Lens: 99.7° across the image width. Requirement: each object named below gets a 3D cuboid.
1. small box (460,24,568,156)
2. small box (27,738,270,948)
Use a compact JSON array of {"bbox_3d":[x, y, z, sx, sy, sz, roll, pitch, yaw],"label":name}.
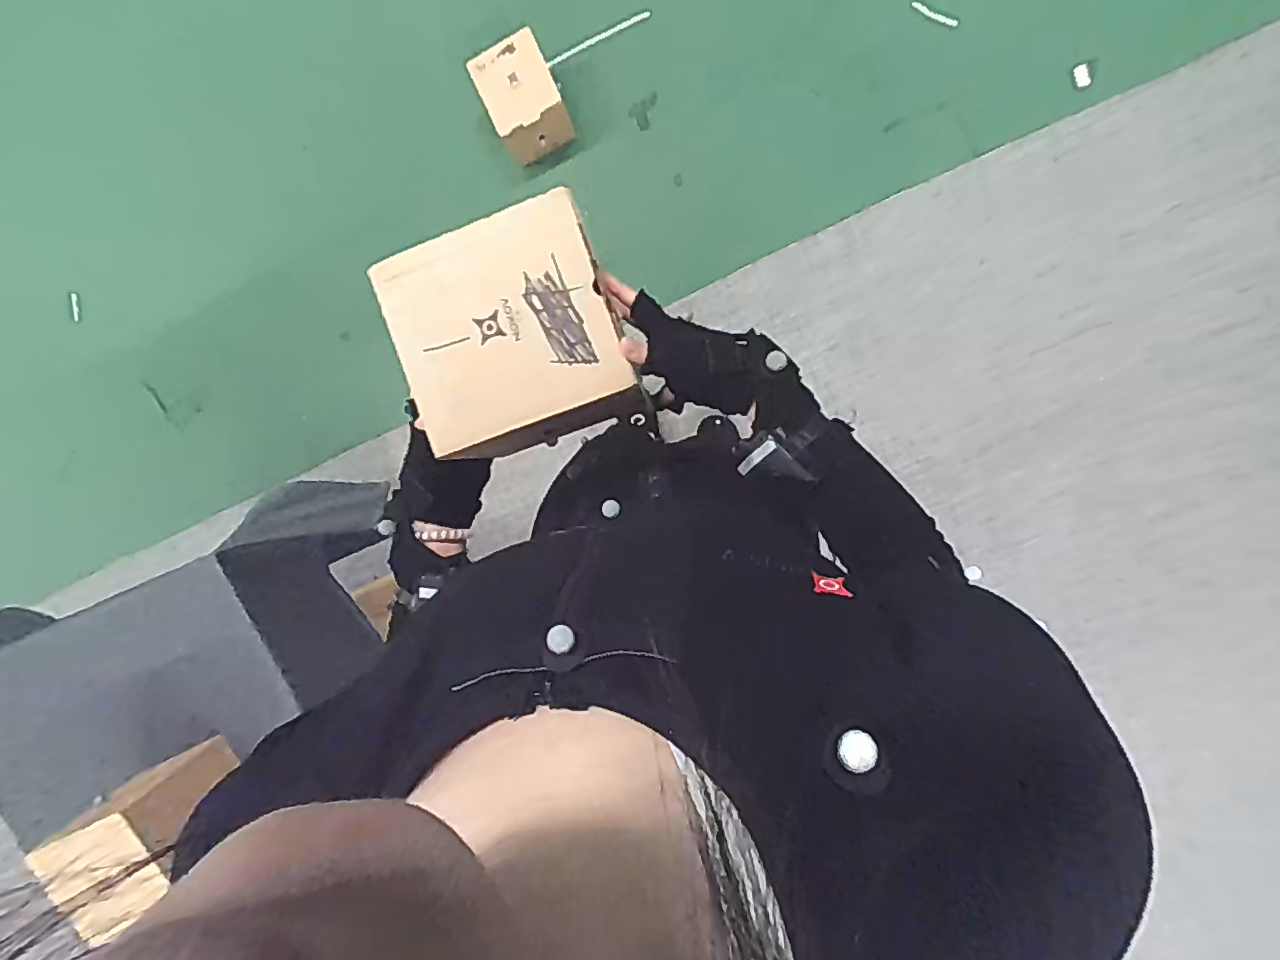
[{"bbox_3d":[-0.287,-0.906,1.281,0.168,0.176,0.179,-24,98,7],"label":"small box"},{"bbox_3d":[-0.716,0.530,0.809,0.179,0.176,0.168,-26,98,8],"label":"small box"}]
